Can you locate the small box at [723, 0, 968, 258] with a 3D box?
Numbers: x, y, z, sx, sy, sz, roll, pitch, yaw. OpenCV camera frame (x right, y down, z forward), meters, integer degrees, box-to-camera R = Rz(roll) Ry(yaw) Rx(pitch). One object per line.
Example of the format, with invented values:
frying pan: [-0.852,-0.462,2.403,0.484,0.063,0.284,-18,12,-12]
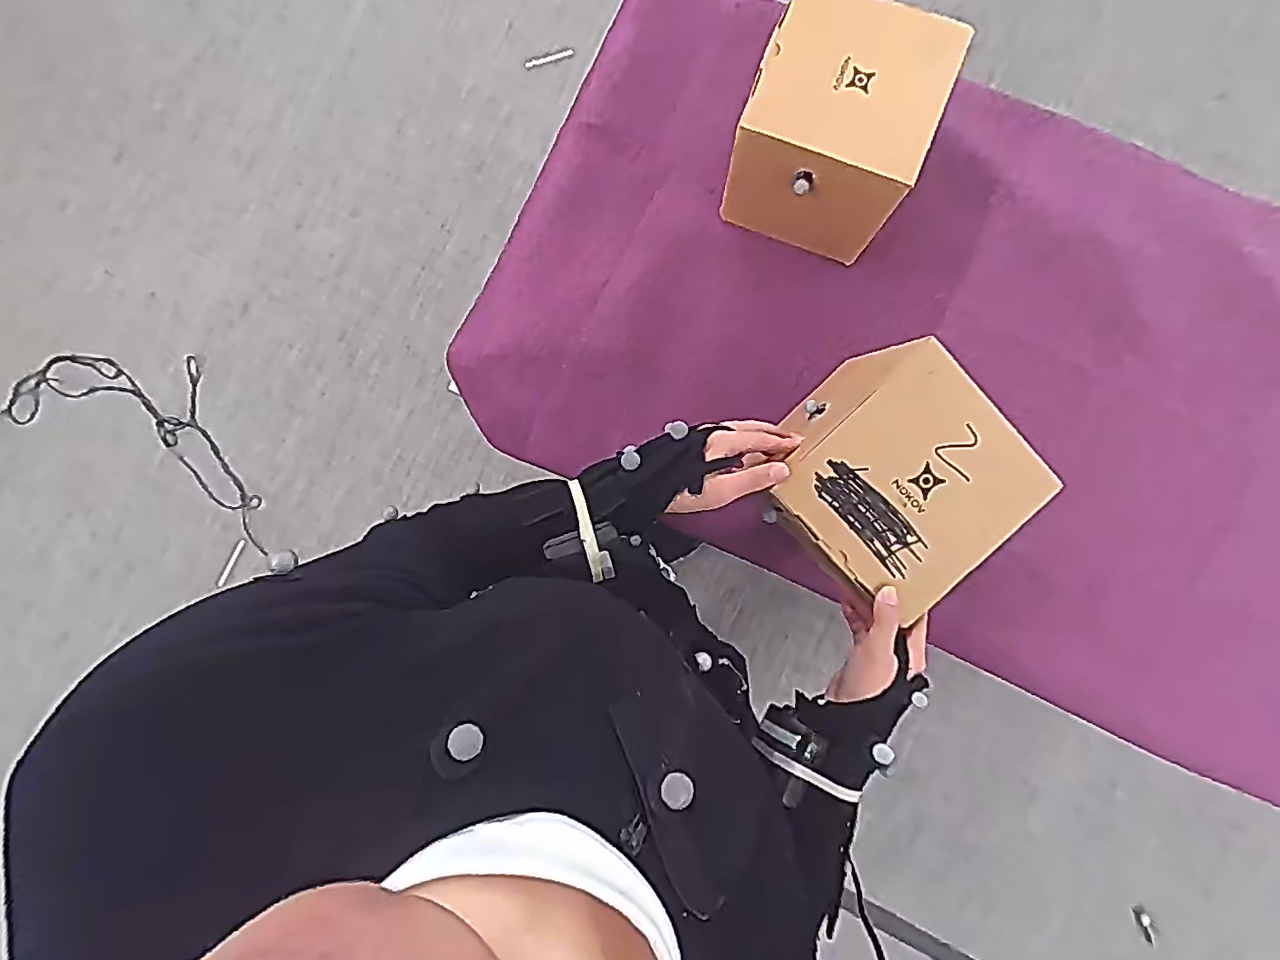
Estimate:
small box: [0.206,-0.373,0.595,0.179,0.176,0.168,22,88,4]
